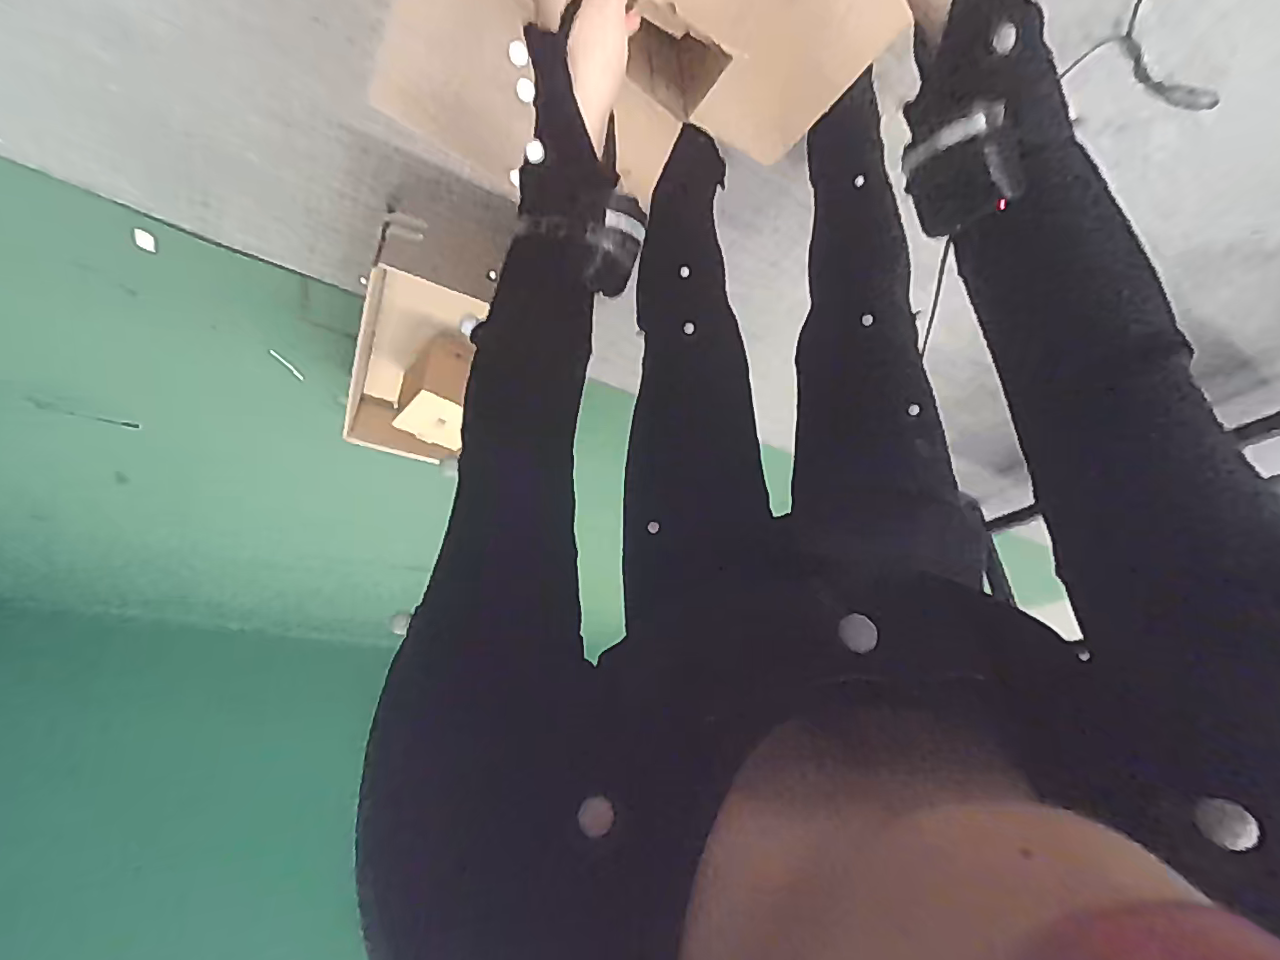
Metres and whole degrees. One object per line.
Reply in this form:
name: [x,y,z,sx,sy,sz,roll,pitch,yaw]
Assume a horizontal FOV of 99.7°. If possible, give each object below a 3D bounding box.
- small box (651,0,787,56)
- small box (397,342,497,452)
small box: [0.051,-0.455,0.358,0.168,0.176,0.179,2,160,-32]
small box: [-0.462,-0.201,1.311,0.168,0.176,0.179,25,140,-35]
